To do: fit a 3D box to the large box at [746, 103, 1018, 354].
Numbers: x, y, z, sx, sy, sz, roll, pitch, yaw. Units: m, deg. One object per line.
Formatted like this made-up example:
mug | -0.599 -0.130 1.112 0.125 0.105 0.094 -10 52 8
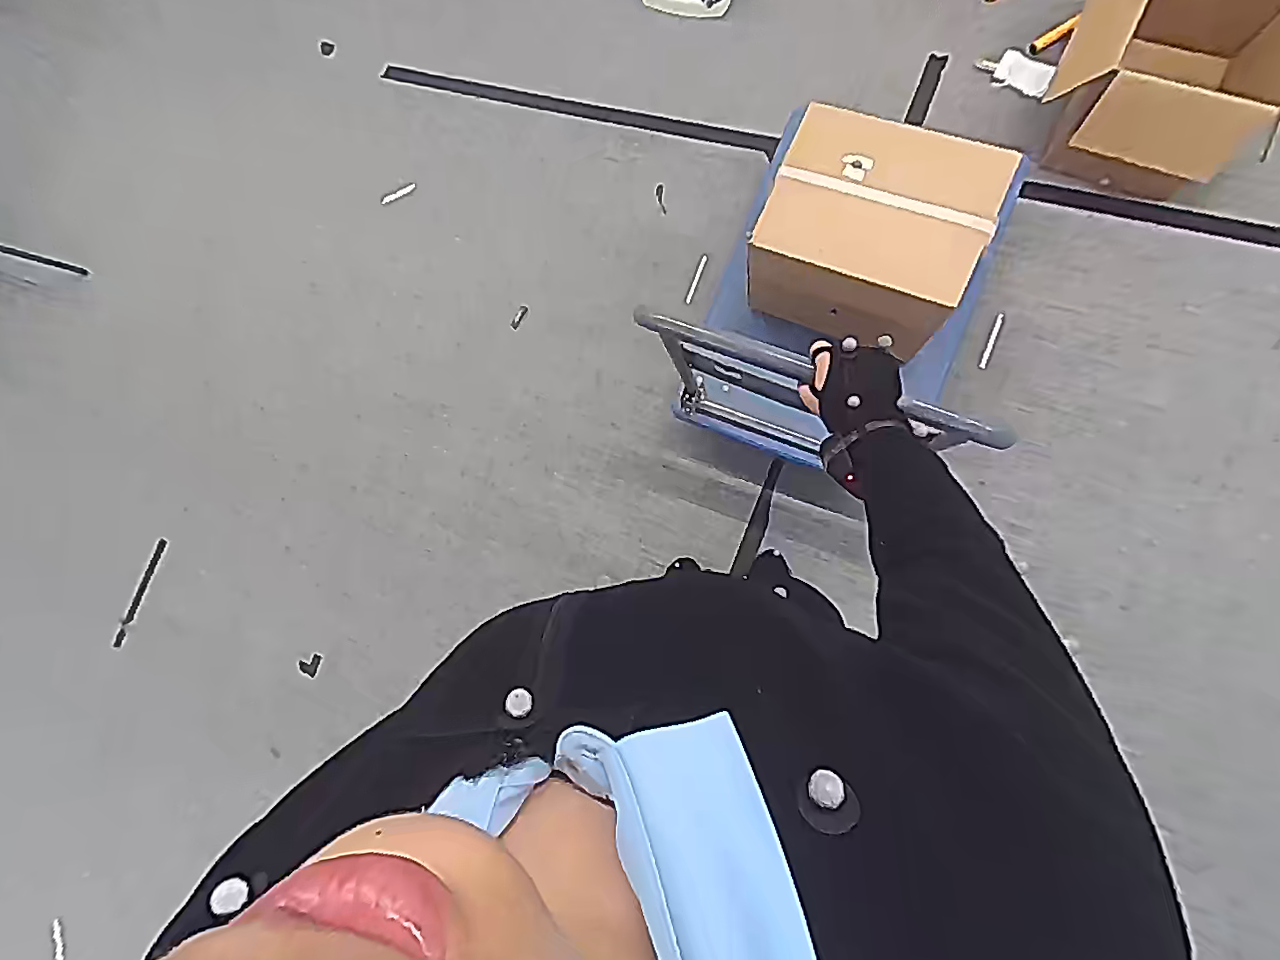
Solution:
large box | 0.476 -0.512 1.155 0.408 0.320 0.320 24 88 14
